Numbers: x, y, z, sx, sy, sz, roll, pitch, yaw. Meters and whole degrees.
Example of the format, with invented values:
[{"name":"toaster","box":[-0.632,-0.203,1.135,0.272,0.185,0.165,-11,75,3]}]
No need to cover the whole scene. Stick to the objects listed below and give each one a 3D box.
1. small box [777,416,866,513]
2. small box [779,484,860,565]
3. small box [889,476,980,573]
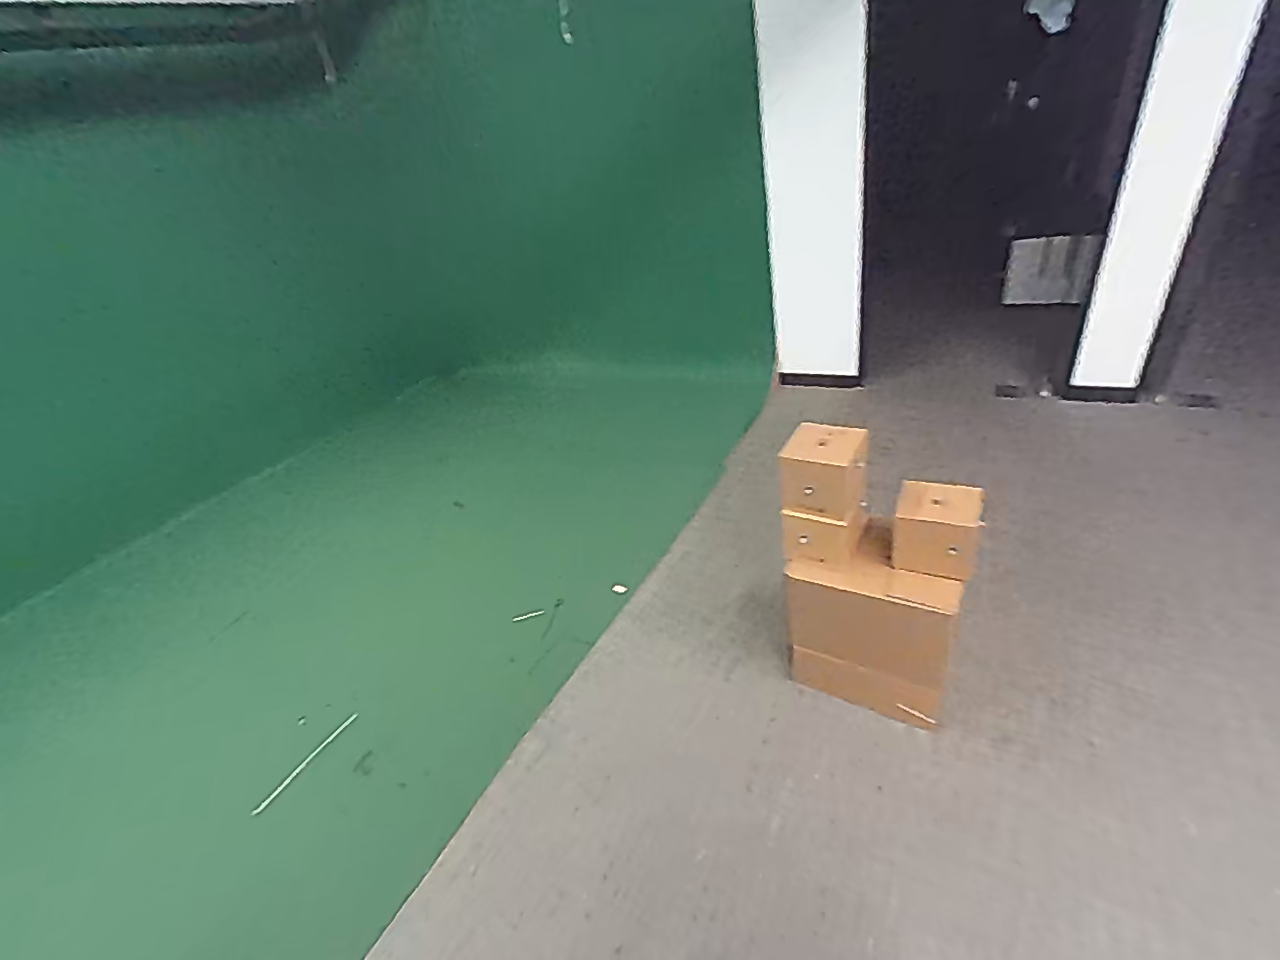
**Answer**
[{"name":"small box","box":[0.464,-0.039,1.377,0.168,0.176,0.179,15,43,33]},{"name":"small box","box":[0.488,0.101,1.461,0.168,0.176,0.179,13,42,31]},{"name":"small box","box":[0.738,0.112,1.362,0.179,0.176,0.168,9,38,32]}]
